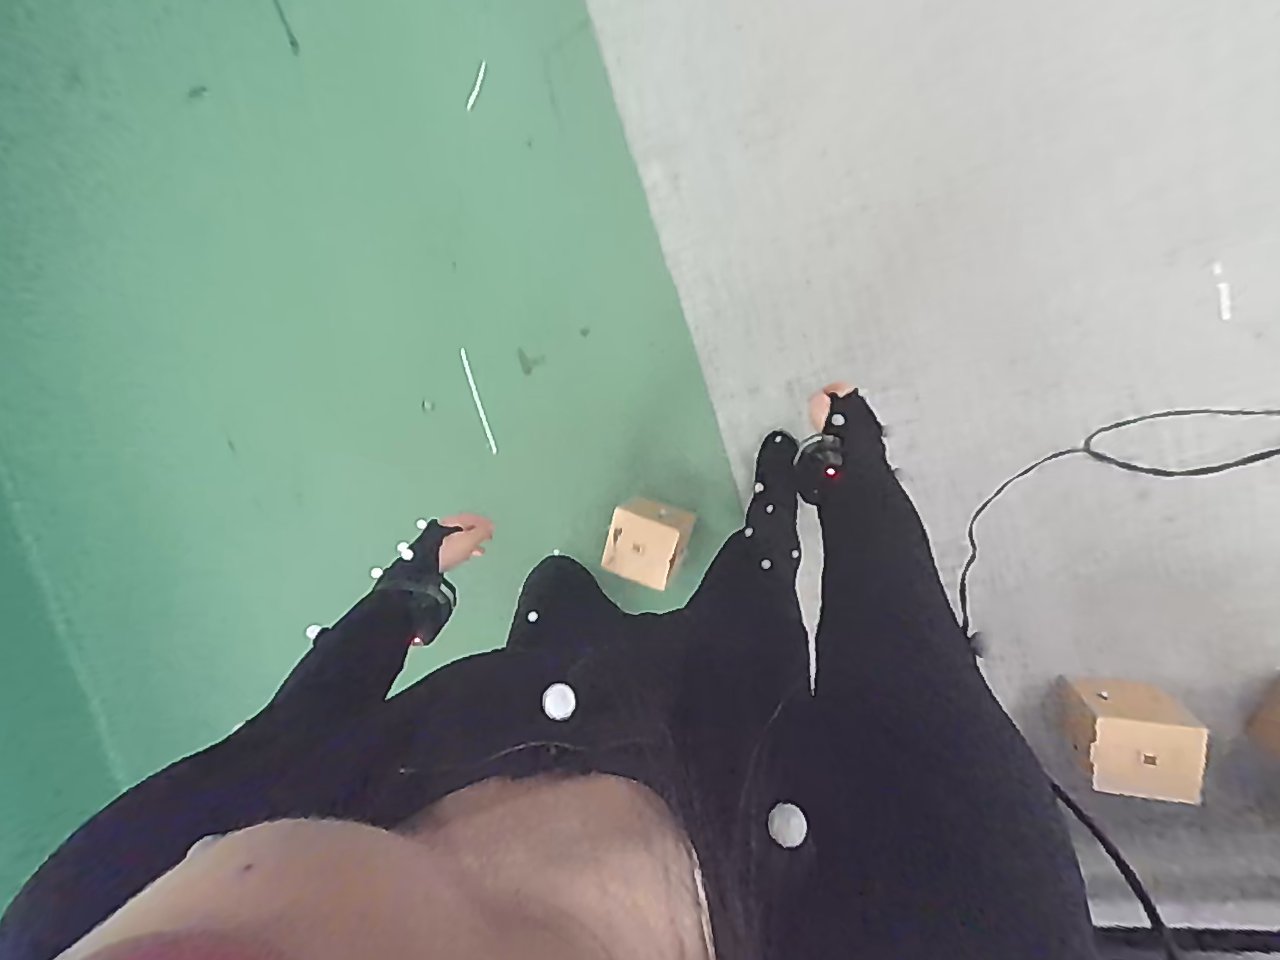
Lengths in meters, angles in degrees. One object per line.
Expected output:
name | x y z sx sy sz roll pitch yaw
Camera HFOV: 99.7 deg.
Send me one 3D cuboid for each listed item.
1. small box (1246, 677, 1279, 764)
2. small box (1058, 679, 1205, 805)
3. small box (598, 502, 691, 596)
small box | 1.324 0.492 1.013 0.168 0.176 0.179 17 104 14
small box | 1.004 0.532 1.122 0.179 0.176 0.168 -2 99 17
small box | 0.017 0.167 1.381 0.179 0.176 0.168 19 105 14
